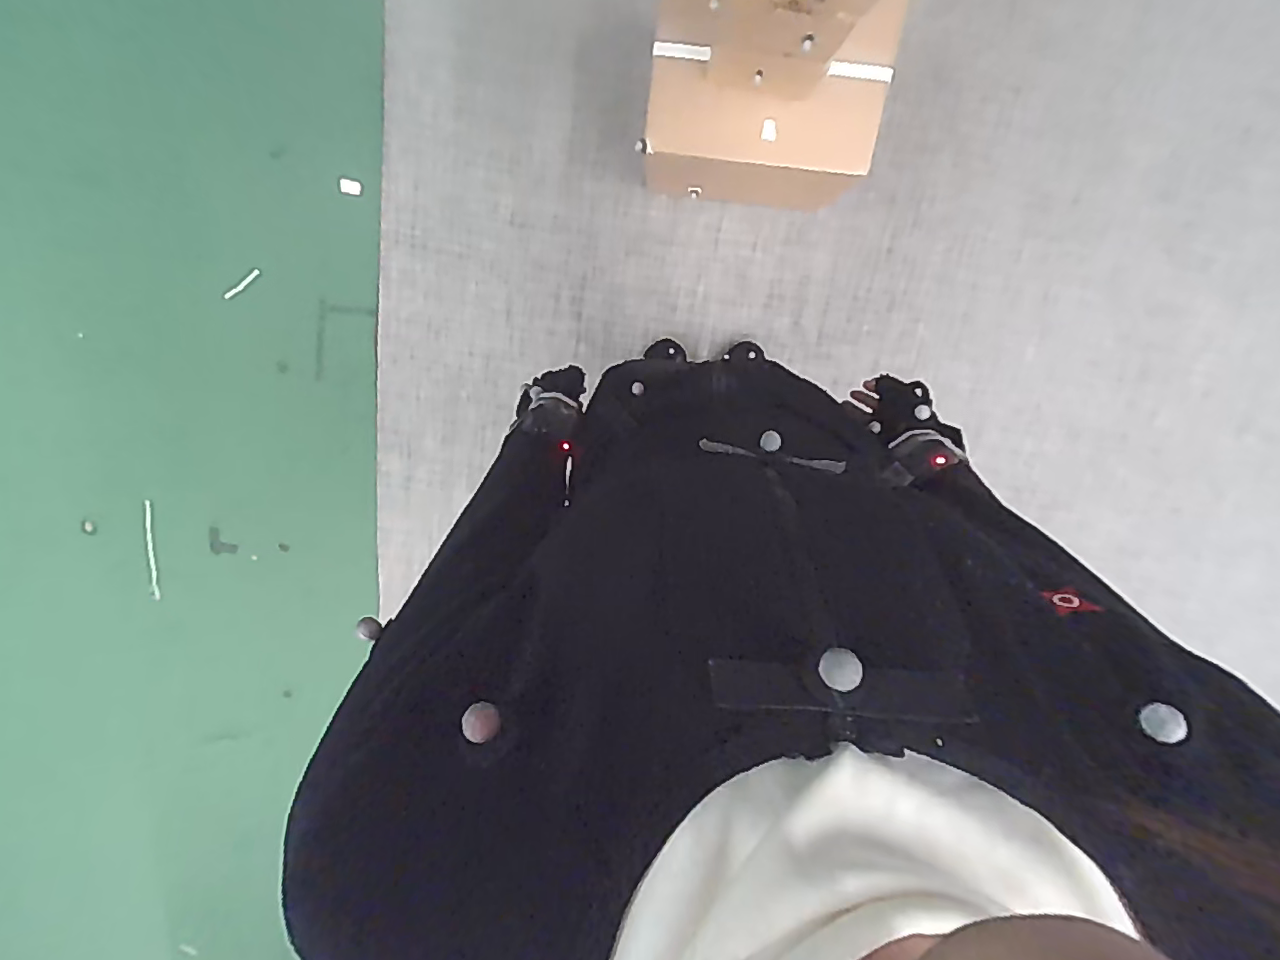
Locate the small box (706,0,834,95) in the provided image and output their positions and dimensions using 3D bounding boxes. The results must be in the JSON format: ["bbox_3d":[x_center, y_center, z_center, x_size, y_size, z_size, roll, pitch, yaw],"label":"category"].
[{"bbox_3d":[0.209,-0.718,0.822,0.179,0.176,0.168,14,110,-2],"label":"small box"}]

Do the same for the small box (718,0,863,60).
[{"bbox_3d":[0.197,-0.663,0.672,0.168,0.176,0.179,10,111,-2],"label":"small box"}]
